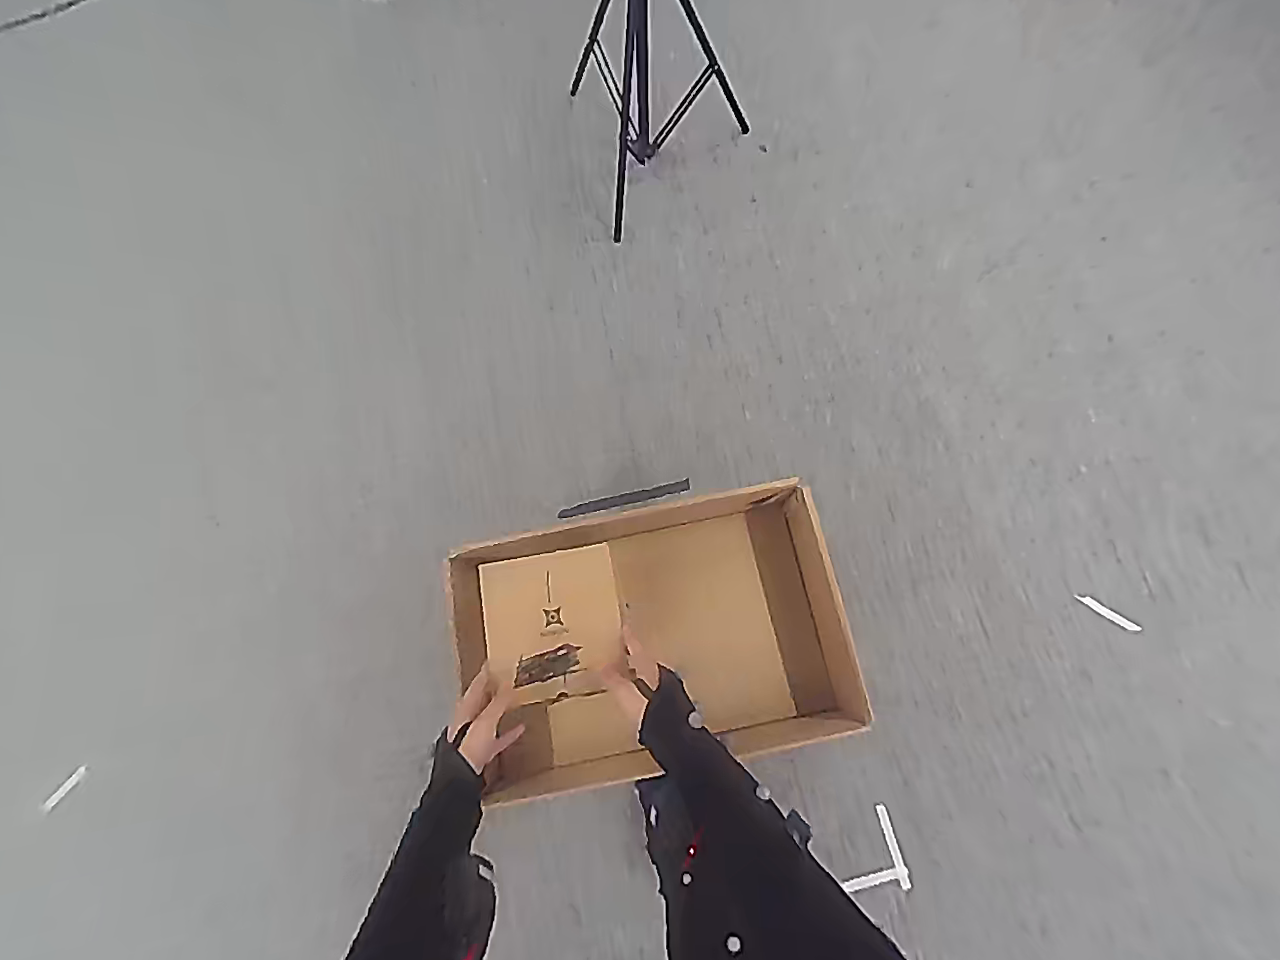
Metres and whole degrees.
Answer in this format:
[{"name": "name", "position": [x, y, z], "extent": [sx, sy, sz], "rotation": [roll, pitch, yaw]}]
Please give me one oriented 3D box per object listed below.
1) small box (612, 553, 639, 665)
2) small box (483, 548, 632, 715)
[{"name": "small box", "position": [-0.100, 0.235, 0.909], "extent": [0.168, 0.176, 0.179], "rotation": [-14, 75, -2]}, {"name": "small box", "position": [-0.103, 0.199, 0.733], "extent": [0.168, 0.176, 0.179], "rotation": [-9, 76, -4]}]
